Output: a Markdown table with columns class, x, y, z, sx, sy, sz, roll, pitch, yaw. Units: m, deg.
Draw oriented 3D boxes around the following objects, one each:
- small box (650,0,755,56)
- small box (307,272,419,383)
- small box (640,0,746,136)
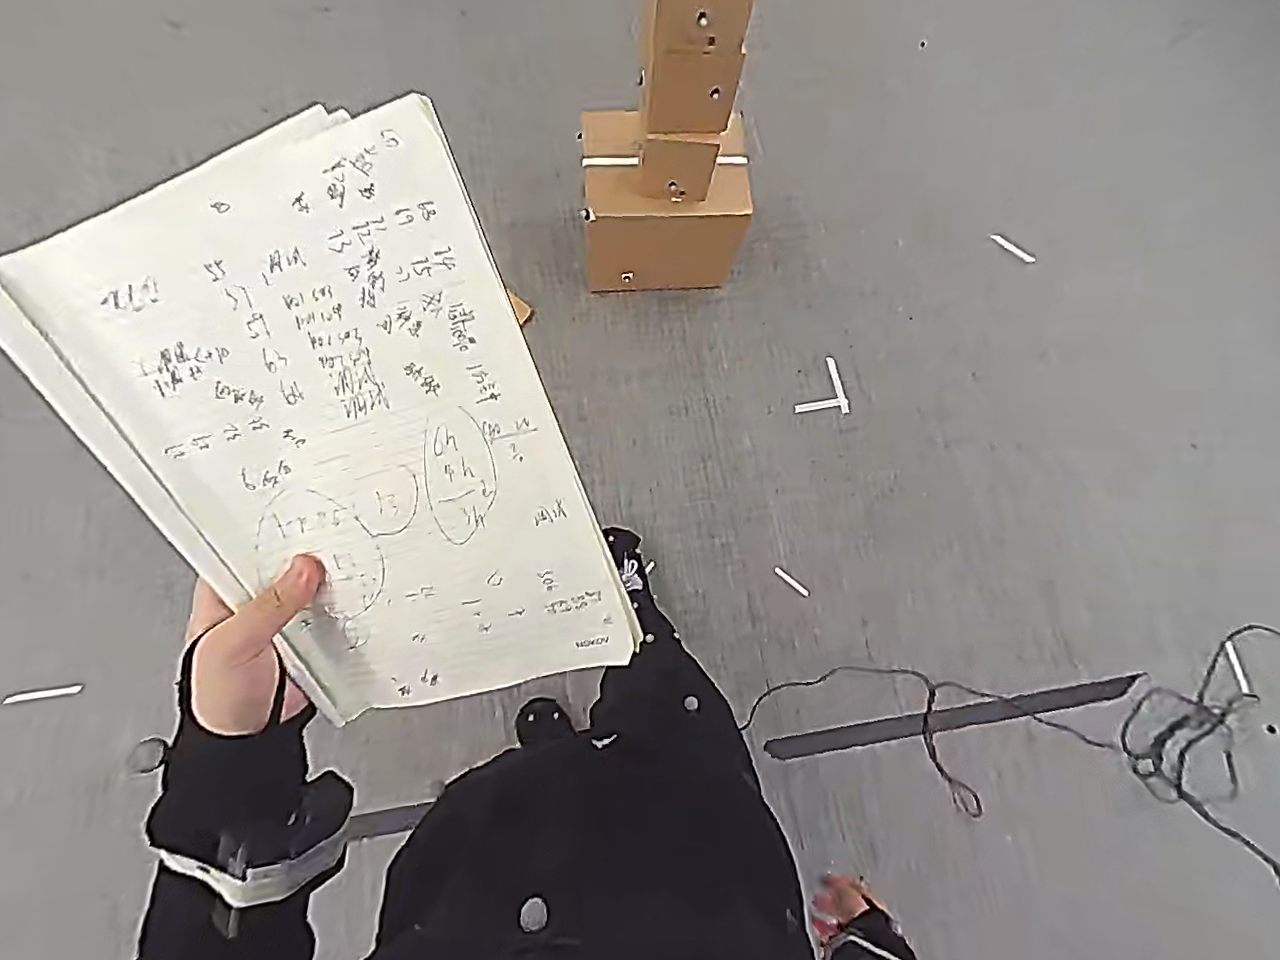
| class | x | y | z | sx | sy | sz | roll | pitch | yaw |
| --- | --- | --- | --- | --- | --- | --- | --- | --- | --- |
| small box | 0.107 | -0.879 | 0.927 | 0.168 | 0.176 | 0.179 | -3 | 75 | -5 |
| small box | -0.693 | -0.383 | 1.382 | 0.168 | 0.176 | 0.179 | 36 | 73 | 4 |
| small box | 0.098 | -0.824 | 1.082 | 0.179 | 0.176 | 0.168 | -5 | 75 | -5 |
